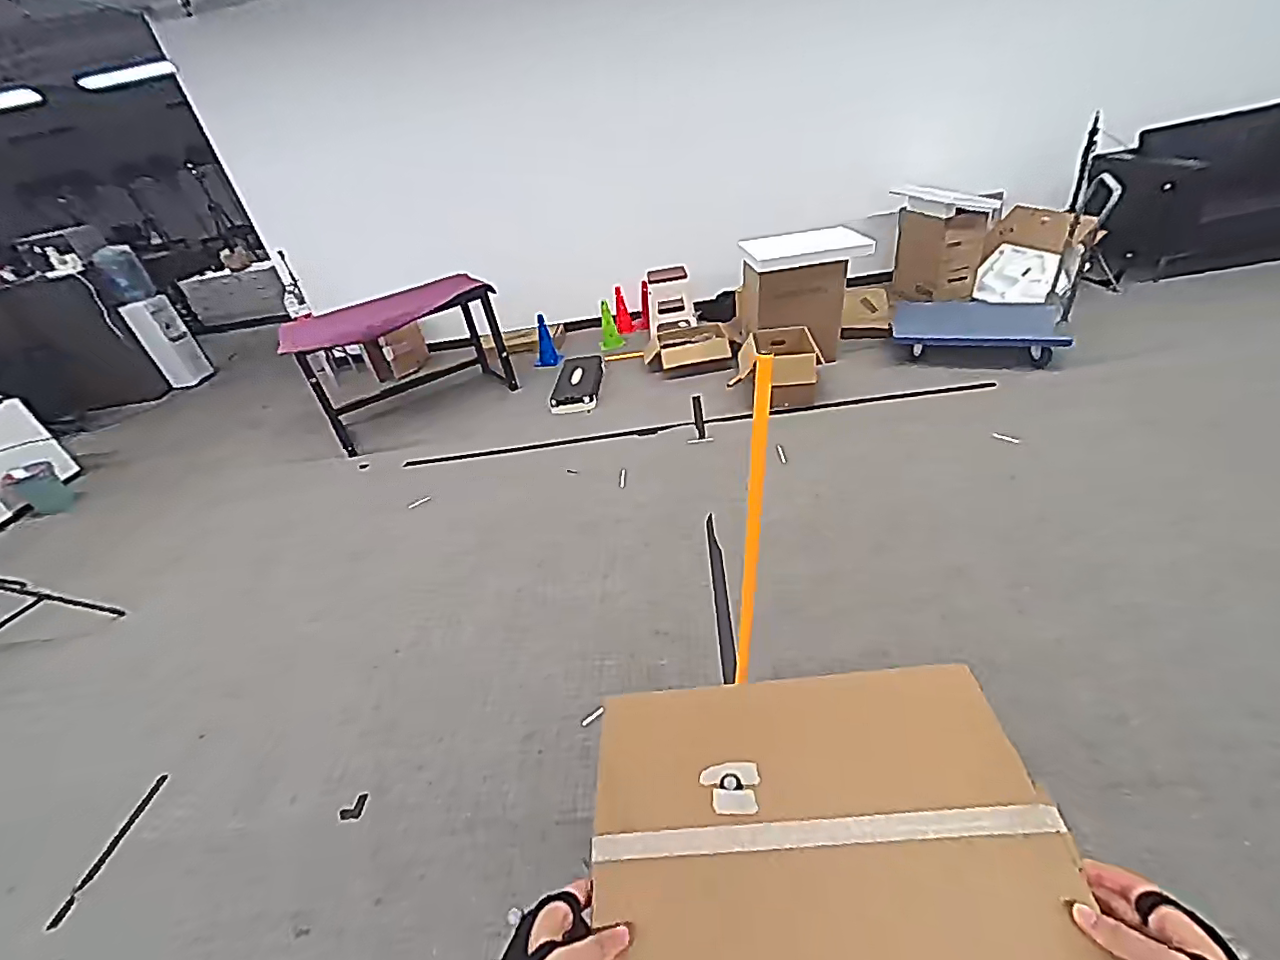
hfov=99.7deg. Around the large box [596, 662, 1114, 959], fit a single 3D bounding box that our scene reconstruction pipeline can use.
[{"bbox_3d":[0.187,0.443,0.589,0.408,0.320,0.320,-10,36,7],"label":"large box"}]
